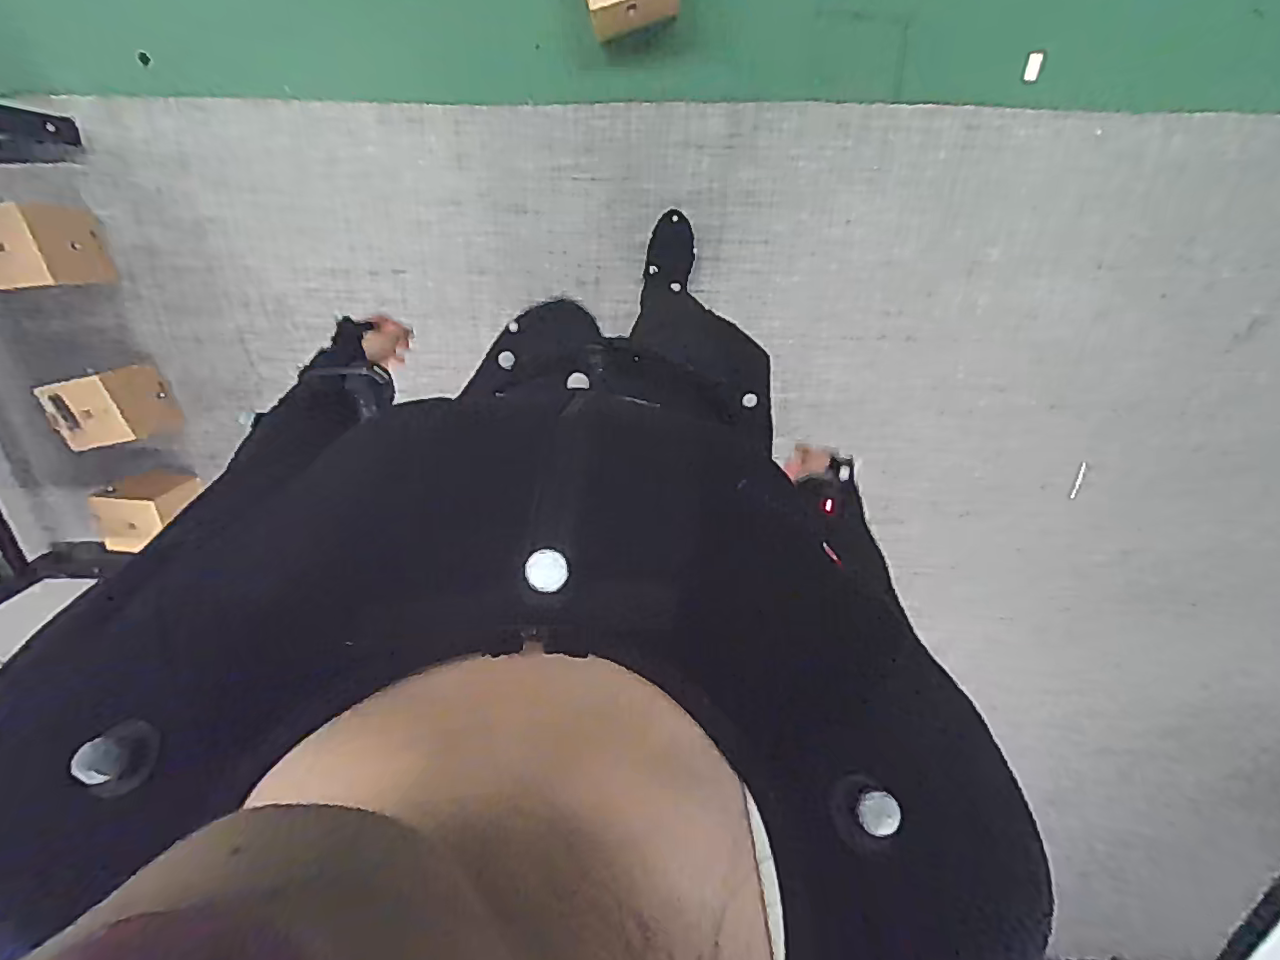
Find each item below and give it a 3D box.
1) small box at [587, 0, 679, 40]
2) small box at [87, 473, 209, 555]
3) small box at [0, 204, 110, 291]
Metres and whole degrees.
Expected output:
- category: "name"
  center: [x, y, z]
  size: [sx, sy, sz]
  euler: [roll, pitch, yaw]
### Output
- category: "small box"
  center: [-0.024, -0.967, 1.011]
  size: [0.179, 0.176, 0.168]
  euler: [-14, 114, 6]
- category: "small box"
  center: [-1.355, 0.091, 1.509]
  size: [0.179, 0.176, 0.168]
  euler: [4, 115, -1]
- category: "small box"
  center: [-1.371, -0.526, 1.224]
  size: [0.179, 0.176, 0.168]
  euler: [-4, 114, 2]
